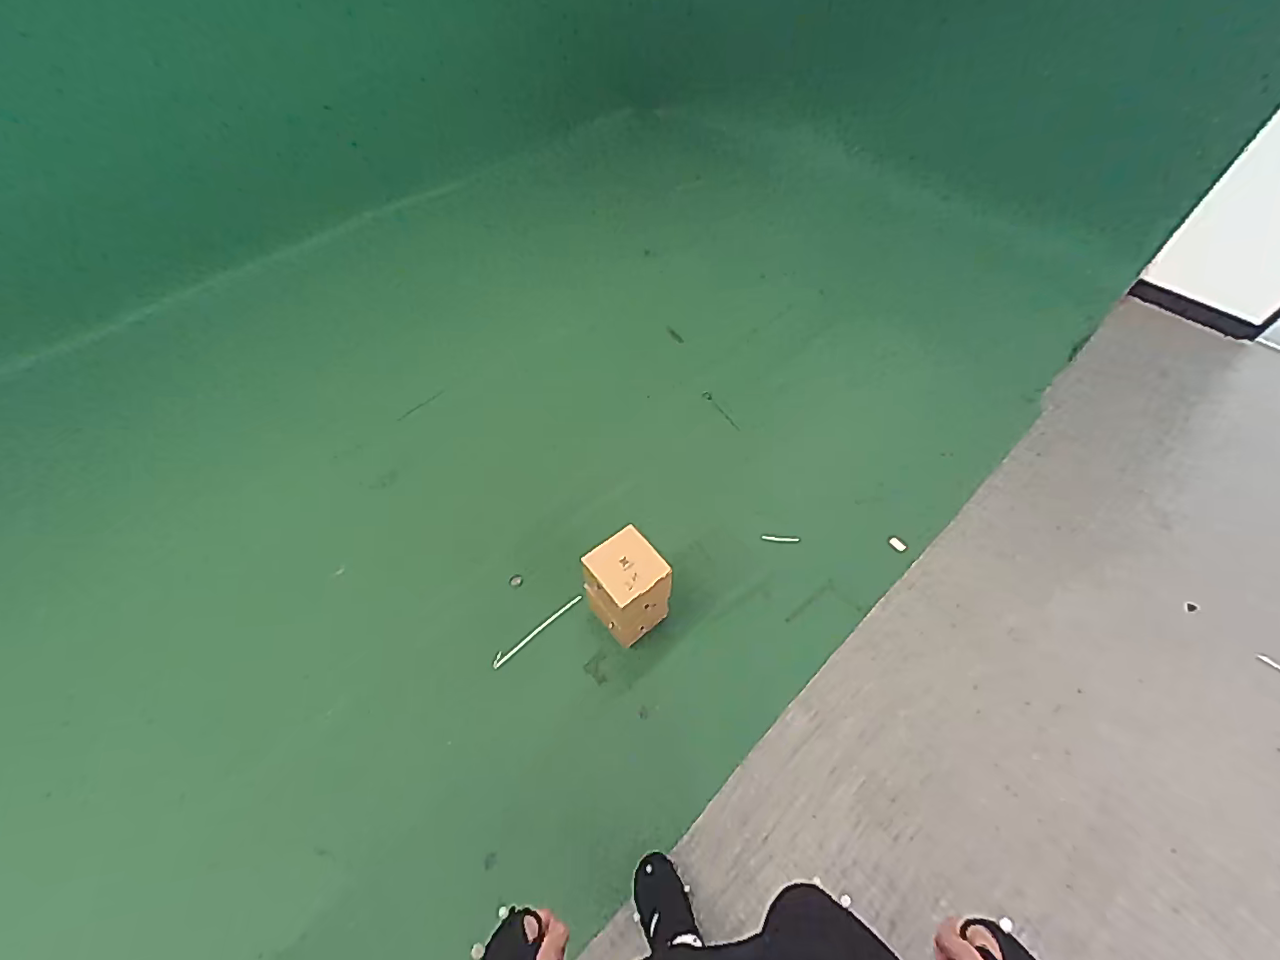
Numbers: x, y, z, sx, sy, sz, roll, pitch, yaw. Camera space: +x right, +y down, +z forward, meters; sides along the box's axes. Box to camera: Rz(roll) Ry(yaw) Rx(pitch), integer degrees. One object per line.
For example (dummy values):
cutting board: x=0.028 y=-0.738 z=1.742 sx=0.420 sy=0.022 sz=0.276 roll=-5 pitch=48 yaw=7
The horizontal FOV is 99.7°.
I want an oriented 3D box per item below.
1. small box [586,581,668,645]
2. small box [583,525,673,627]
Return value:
small box: x=-0.037 y=0.349 z=1.574 sx=0.168 sy=0.176 sz=0.179 roll=-35 pitch=63 yaw=-21
small box: x=-0.033 y=0.258 z=1.437 sx=0.168 sy=0.176 sz=0.179 roll=-33 pitch=62 yaw=-20
